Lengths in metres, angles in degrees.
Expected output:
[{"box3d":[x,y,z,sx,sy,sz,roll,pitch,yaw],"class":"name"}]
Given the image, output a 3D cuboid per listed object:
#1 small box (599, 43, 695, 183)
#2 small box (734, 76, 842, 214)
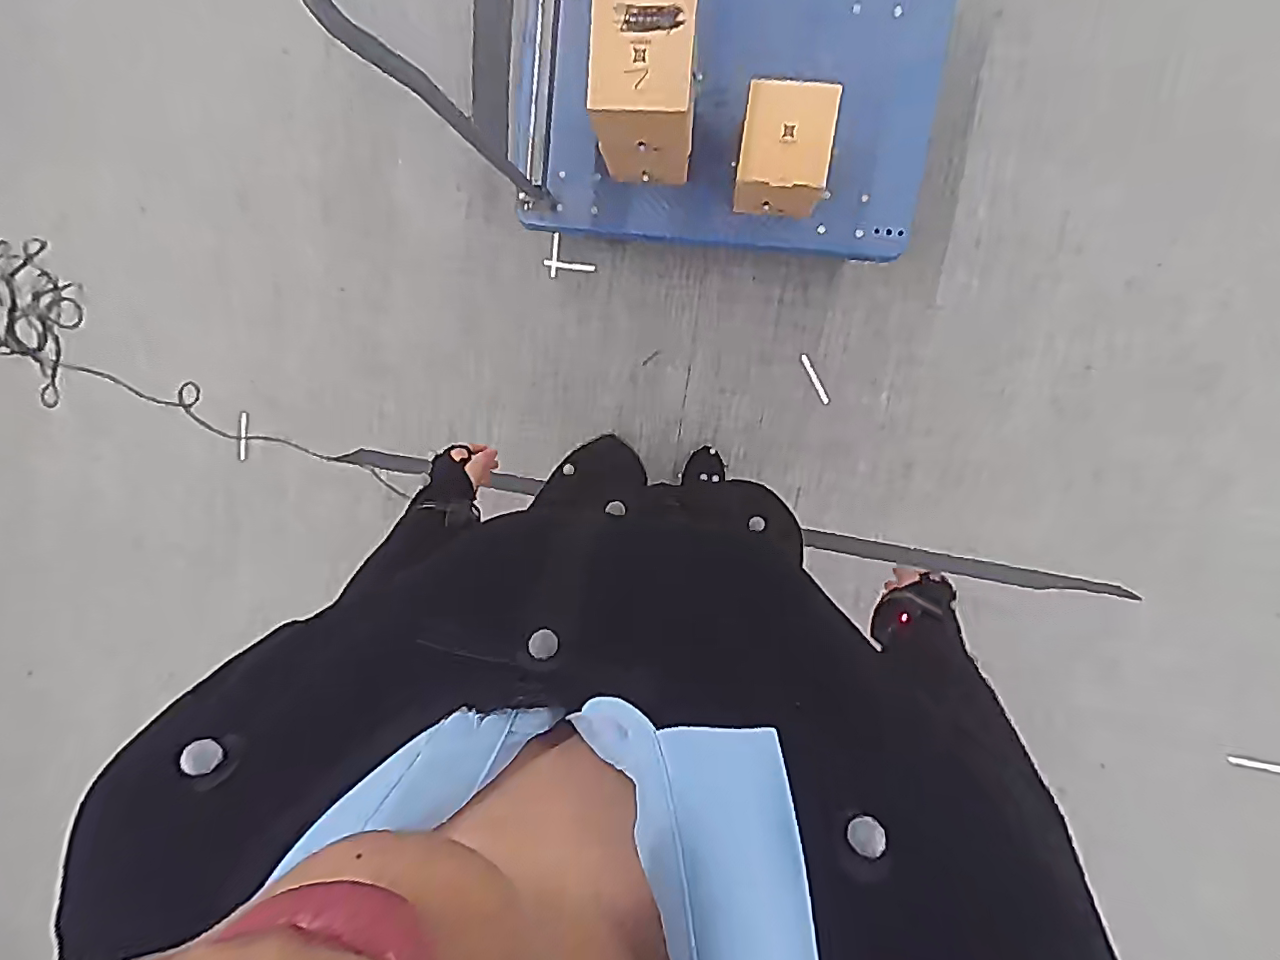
[{"box3d":[0.019,-0.724,1.082,0.168,0.176,0.179,7,100,6],"class":"small box"},{"box3d":[0.281,-0.649,1.066,0.168,0.176,0.179,8,100,5],"class":"small box"}]
